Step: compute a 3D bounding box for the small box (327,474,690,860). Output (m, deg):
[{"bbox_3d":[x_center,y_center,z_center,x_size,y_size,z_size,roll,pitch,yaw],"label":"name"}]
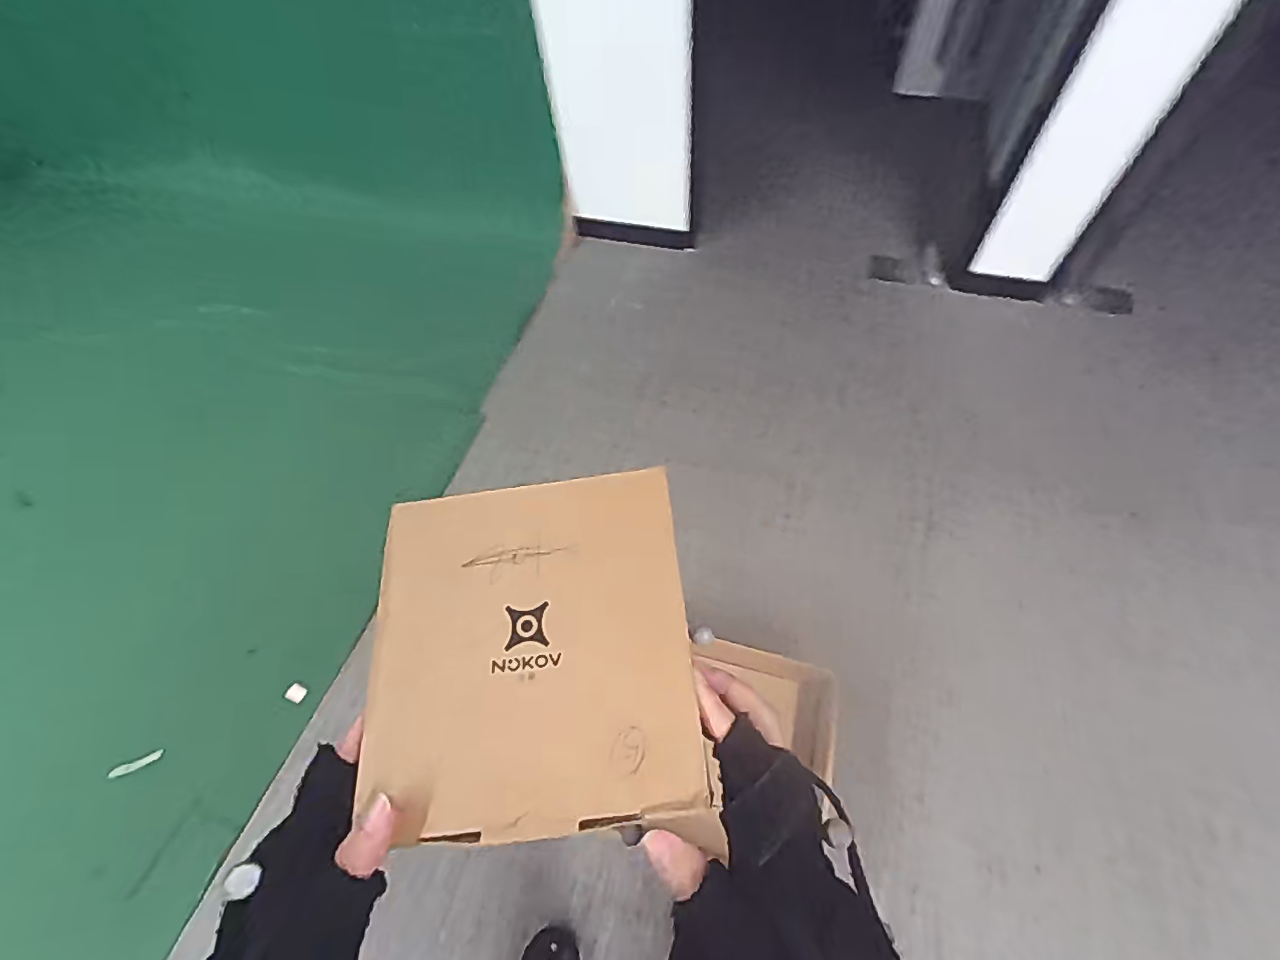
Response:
[{"bbox_3d":[-0.061,0.120,0.348,0.168,0.176,0.179,-8,61,2],"label":"small box"}]
